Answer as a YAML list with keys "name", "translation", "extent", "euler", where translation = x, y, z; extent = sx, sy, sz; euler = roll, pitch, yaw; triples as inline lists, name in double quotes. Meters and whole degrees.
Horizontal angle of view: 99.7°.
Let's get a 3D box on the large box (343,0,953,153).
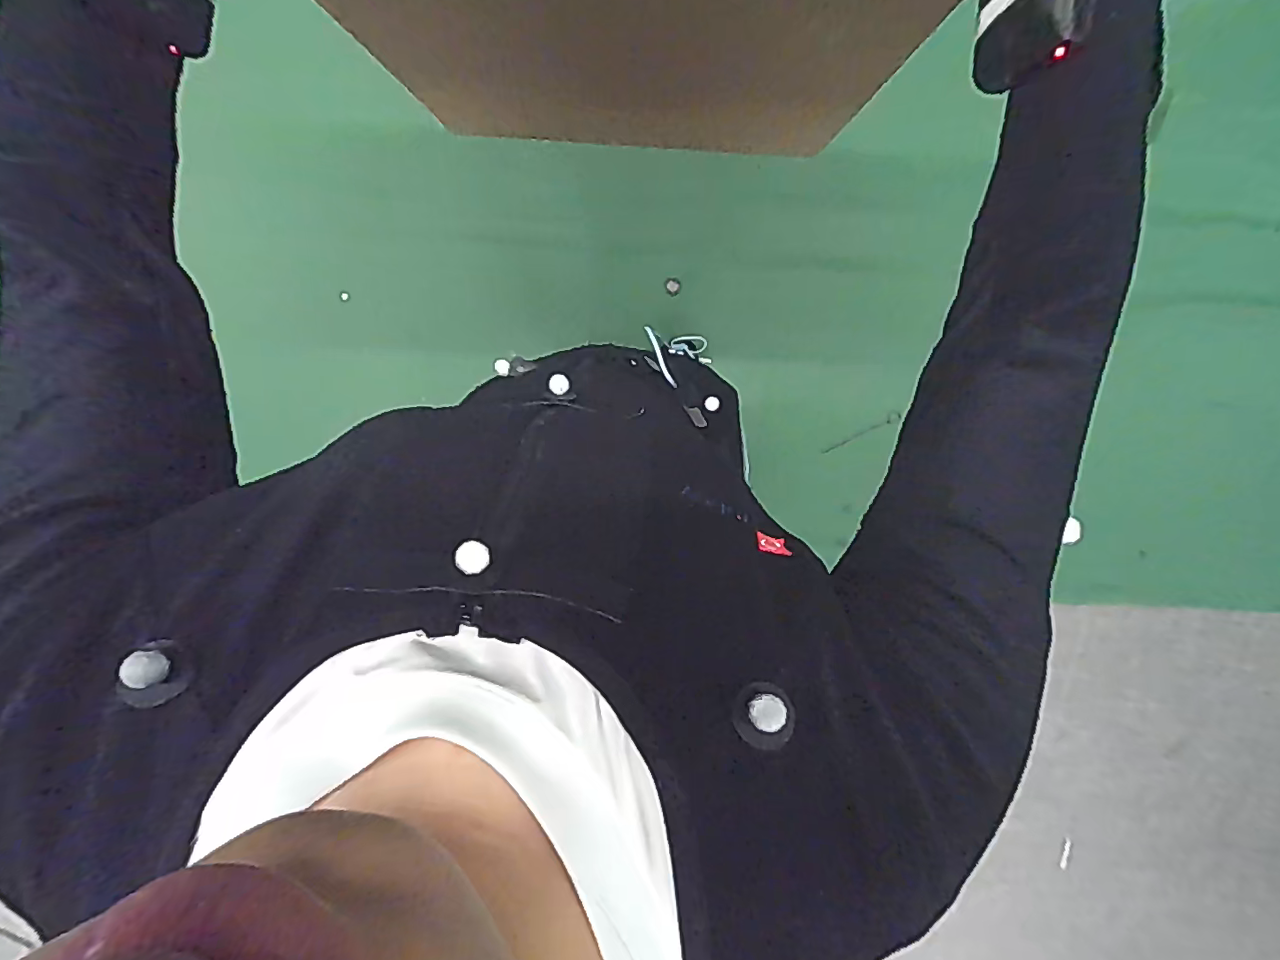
- name: "large box"
  translation: [0.004, -0.475, 0.412]
  extent: [0.408, 0.320, 0.320]
  euler: [3, 105, -1]
